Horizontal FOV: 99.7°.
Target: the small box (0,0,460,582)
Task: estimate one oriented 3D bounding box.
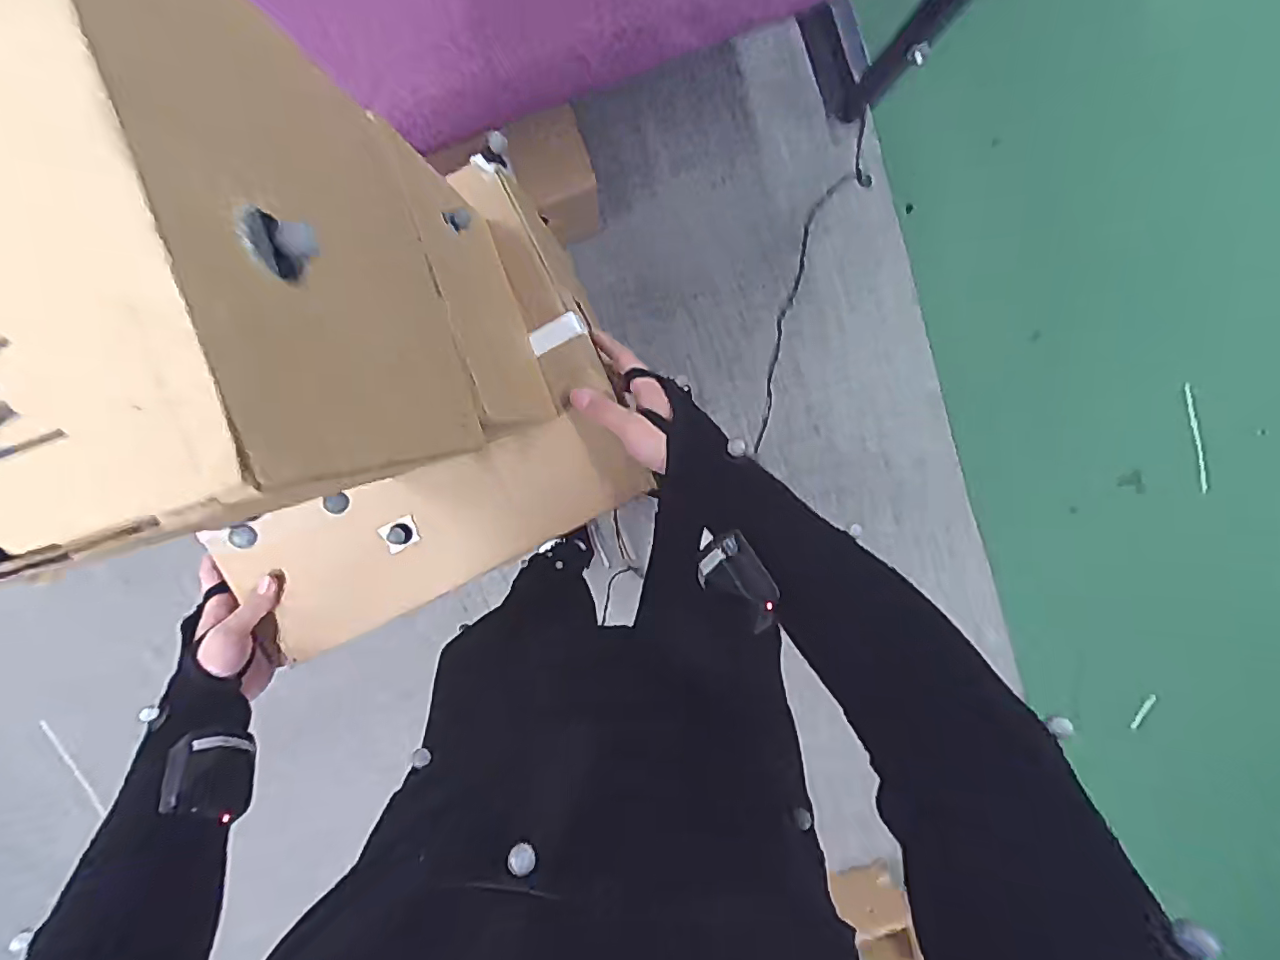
[{"bbox_3d":[-0.197,-0.067,0.213,0.168,0.176,0.179,-17,95,6],"label":"small box"}]

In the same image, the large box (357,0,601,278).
[{"bbox_3d":[-0.299,-0.703,1.137,0.320,0.320,0.408,-21,98,-1],"label":"large box"}]
